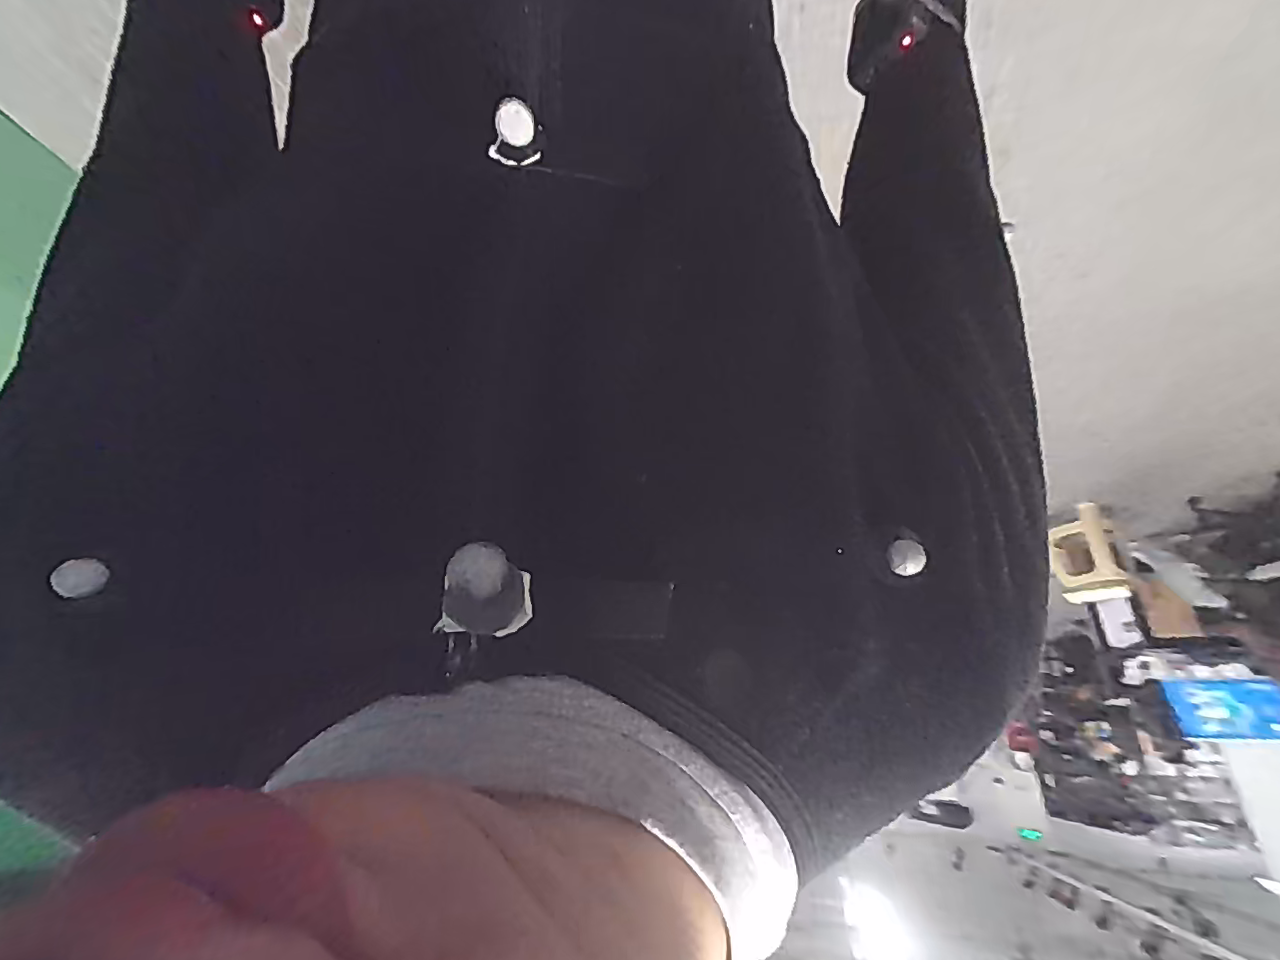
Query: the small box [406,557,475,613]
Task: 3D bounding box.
[{"bbox_3d":[-0.744,0.397,2.044,0.179,0.176,0.168,-8,150,24],"label":"small box"}]
